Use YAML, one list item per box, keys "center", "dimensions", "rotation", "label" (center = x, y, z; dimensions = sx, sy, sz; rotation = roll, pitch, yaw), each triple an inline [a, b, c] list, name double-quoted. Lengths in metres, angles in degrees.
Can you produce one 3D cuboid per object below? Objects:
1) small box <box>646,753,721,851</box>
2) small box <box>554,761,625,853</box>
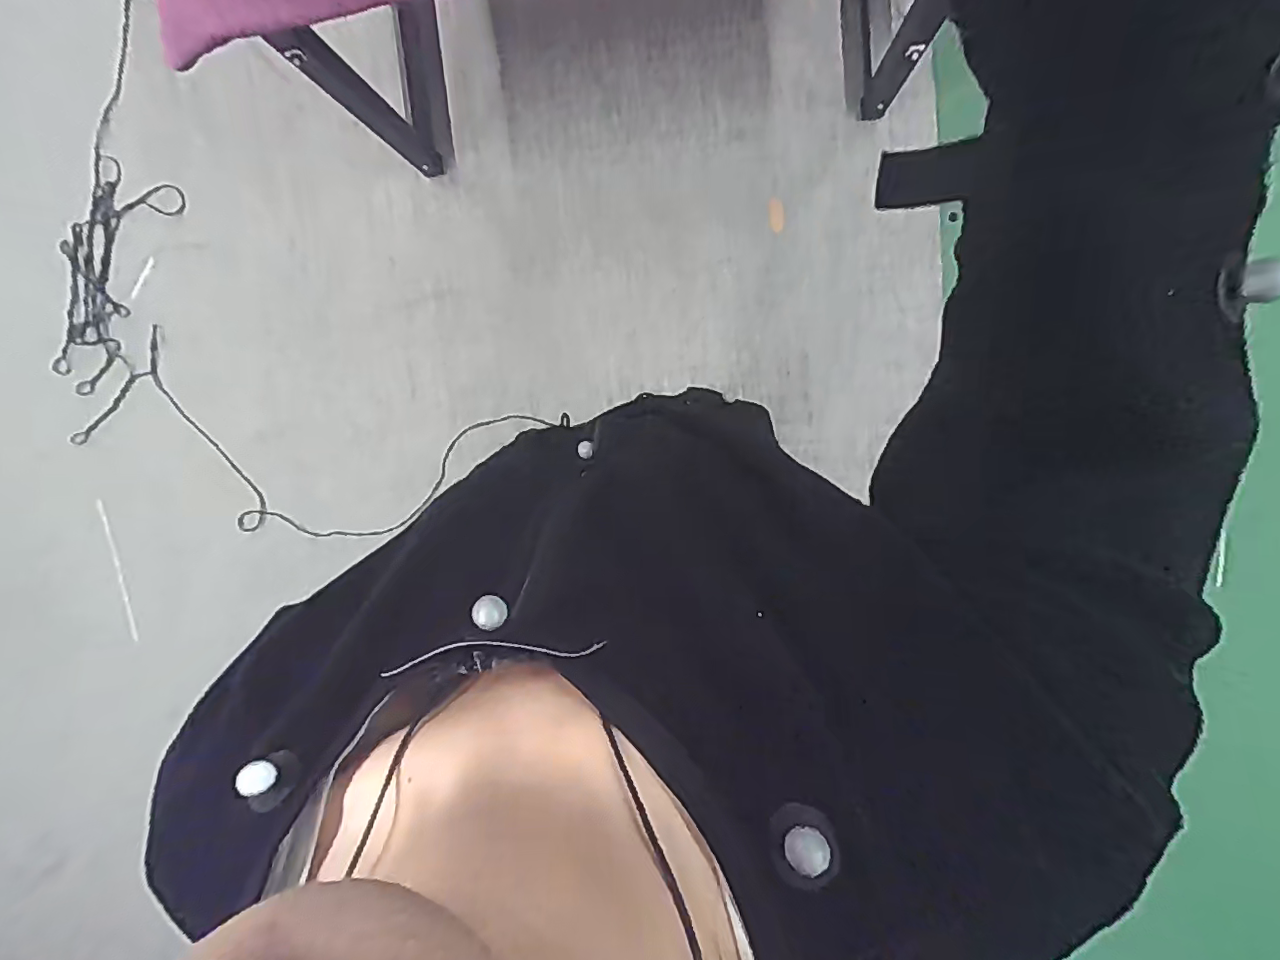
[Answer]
- center: [0.121, 0.879, 1.490]
  dimensions: [0.179, 0.176, 0.168]
  rotation: [-11, 95, 9]
  label: "small box"
- center: [-0.144, 0.923, 1.524]
  dimensions: [0.179, 0.176, 0.168]
  rotation: [-13, 95, 7]
  label: "small box"
